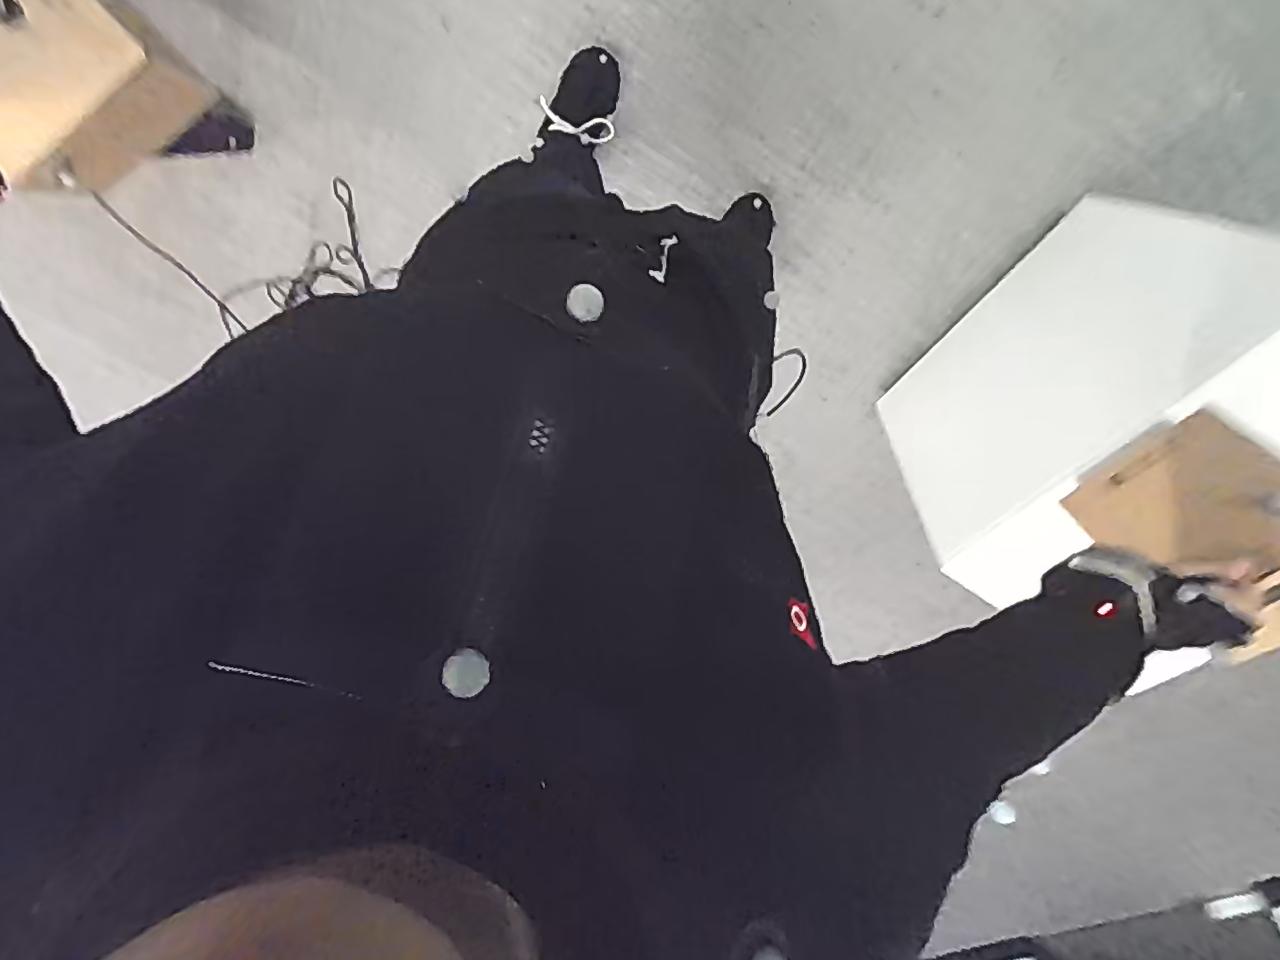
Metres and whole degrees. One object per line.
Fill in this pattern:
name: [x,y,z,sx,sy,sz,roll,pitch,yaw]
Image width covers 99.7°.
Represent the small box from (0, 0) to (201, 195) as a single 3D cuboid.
small box: [-0.528,-0.370,0.457,0.176,0.179,0.168,-41,123,1]
